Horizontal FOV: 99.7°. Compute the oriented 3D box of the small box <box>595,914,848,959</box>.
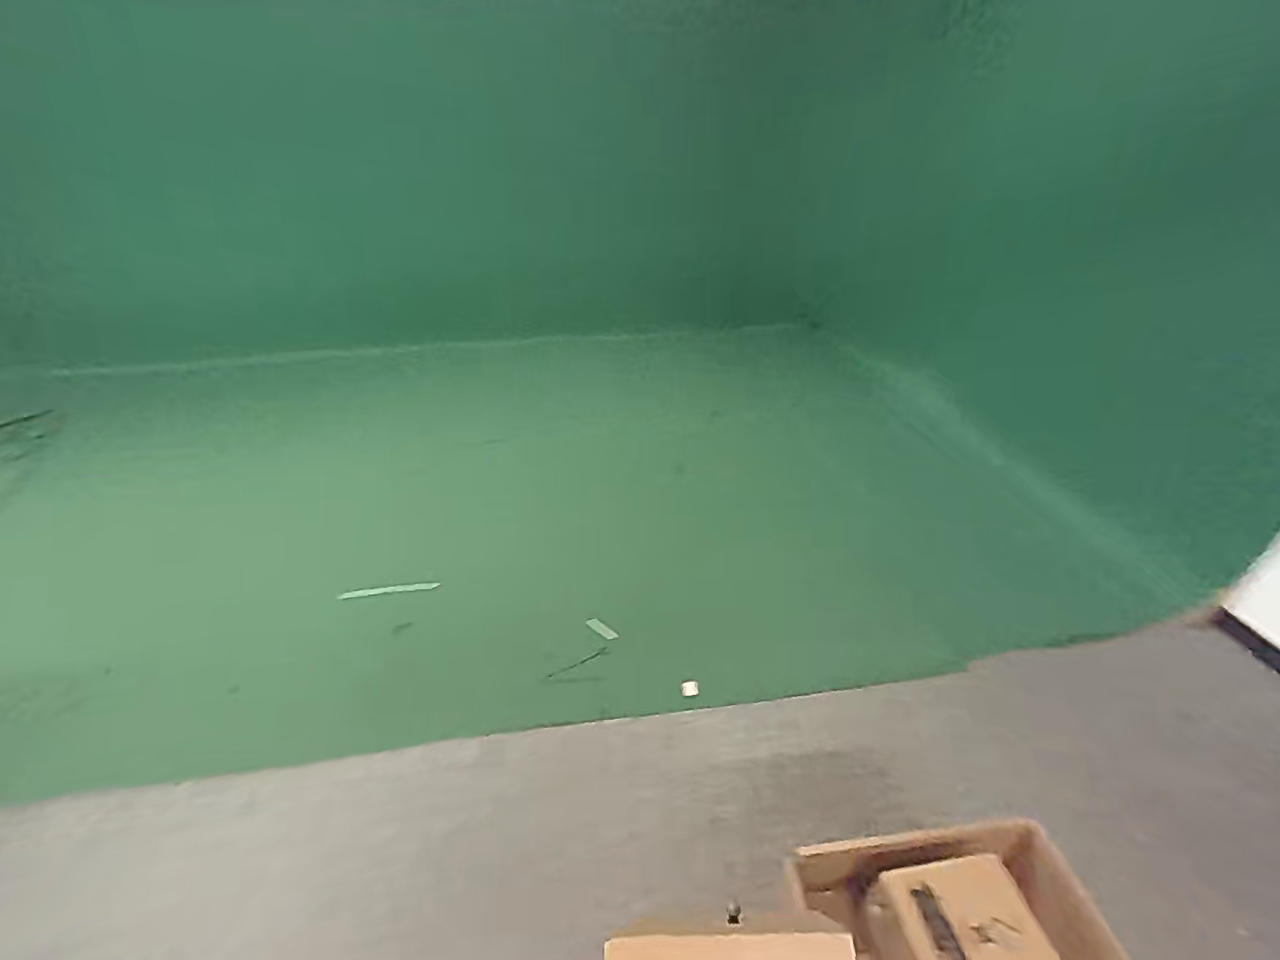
[{"bbox_3d":[0.067,0.433,0.397,0.179,0.176,0.168,-6,55,3],"label":"small box"}]
